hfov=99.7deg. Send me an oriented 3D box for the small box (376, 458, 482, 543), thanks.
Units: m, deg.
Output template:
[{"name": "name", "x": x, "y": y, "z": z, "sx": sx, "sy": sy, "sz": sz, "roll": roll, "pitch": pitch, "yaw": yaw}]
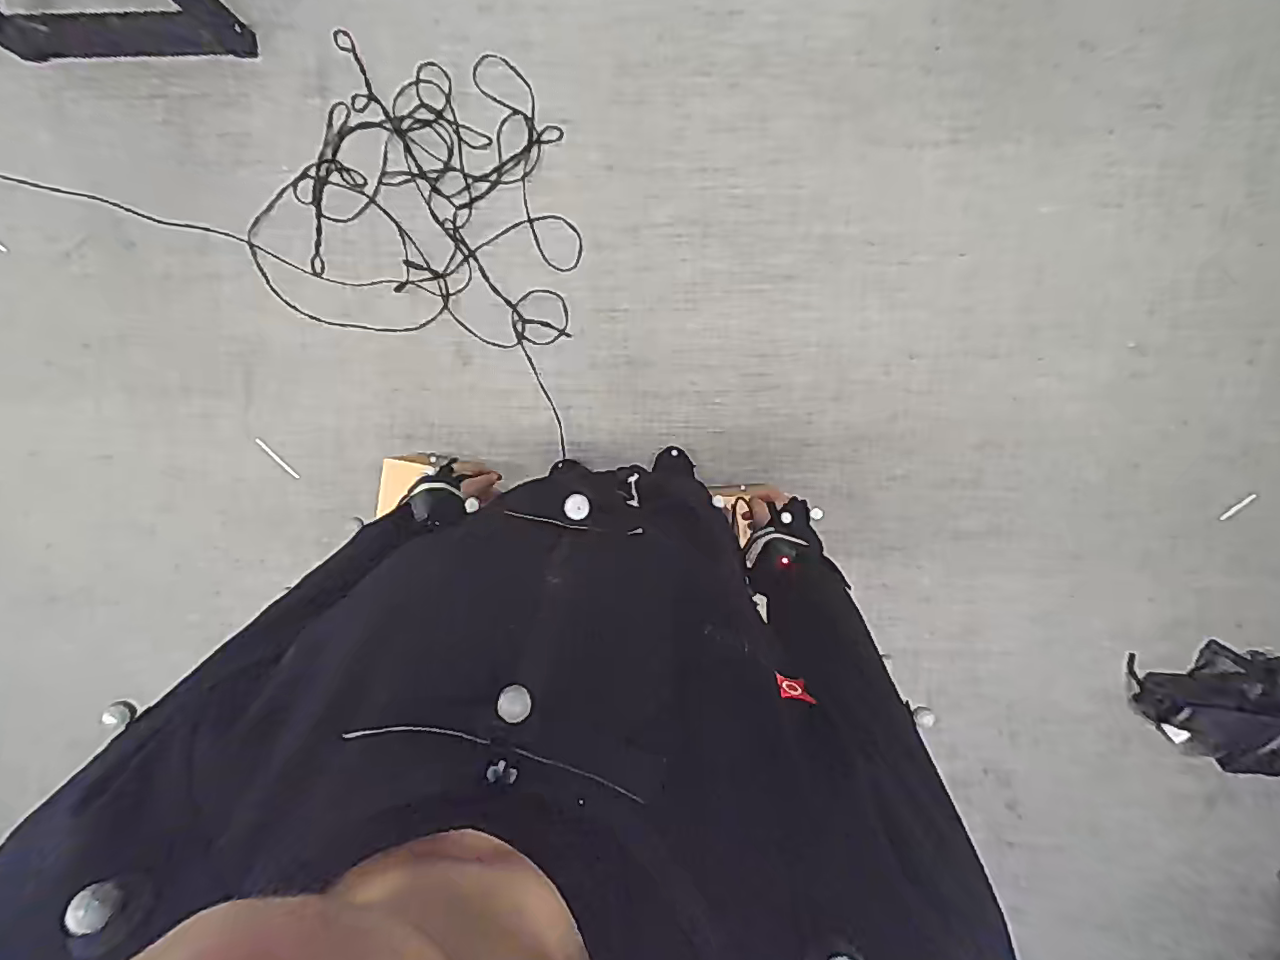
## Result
[{"name": "small box", "x": -0.496, "y": 0.042, "z": 1.292, "sx": 0.179, "sy": 0.176, "sz": 0.168, "roll": 10, "pitch": 95, "yaw": -1}]
